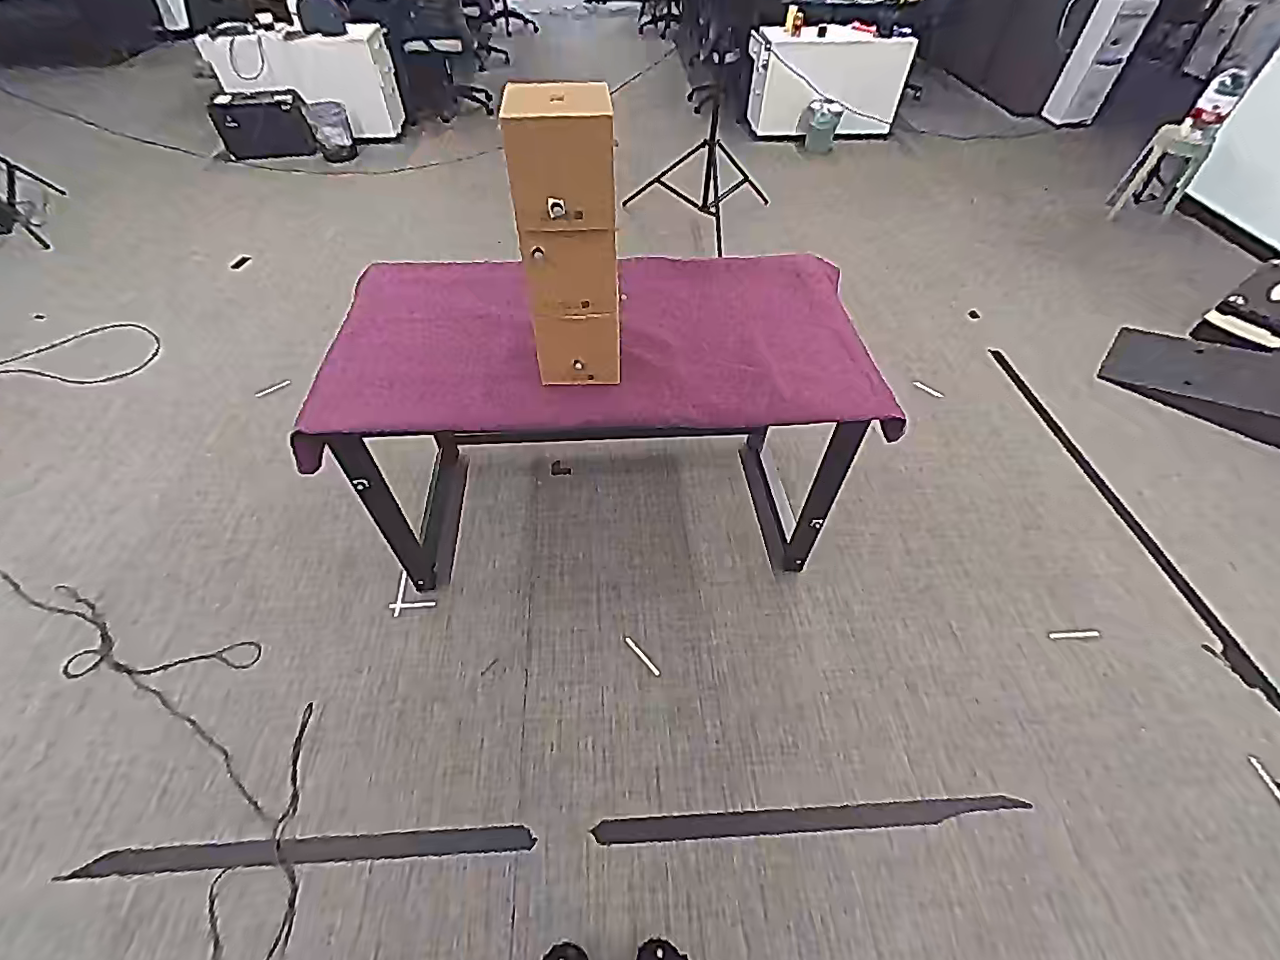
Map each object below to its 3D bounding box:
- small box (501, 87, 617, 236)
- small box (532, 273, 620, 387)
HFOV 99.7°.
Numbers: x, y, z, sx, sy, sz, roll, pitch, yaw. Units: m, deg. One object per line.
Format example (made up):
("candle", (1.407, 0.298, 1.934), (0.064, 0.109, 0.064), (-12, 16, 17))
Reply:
("small box", (-0.127, -0.522, 0.889), (0.168, 0.176, 0.179), (-5, 50, -4))
("small box", (-0.128, -0.318, 1.145), (0.168, 0.176, 0.179), (-1, 50, -1))
